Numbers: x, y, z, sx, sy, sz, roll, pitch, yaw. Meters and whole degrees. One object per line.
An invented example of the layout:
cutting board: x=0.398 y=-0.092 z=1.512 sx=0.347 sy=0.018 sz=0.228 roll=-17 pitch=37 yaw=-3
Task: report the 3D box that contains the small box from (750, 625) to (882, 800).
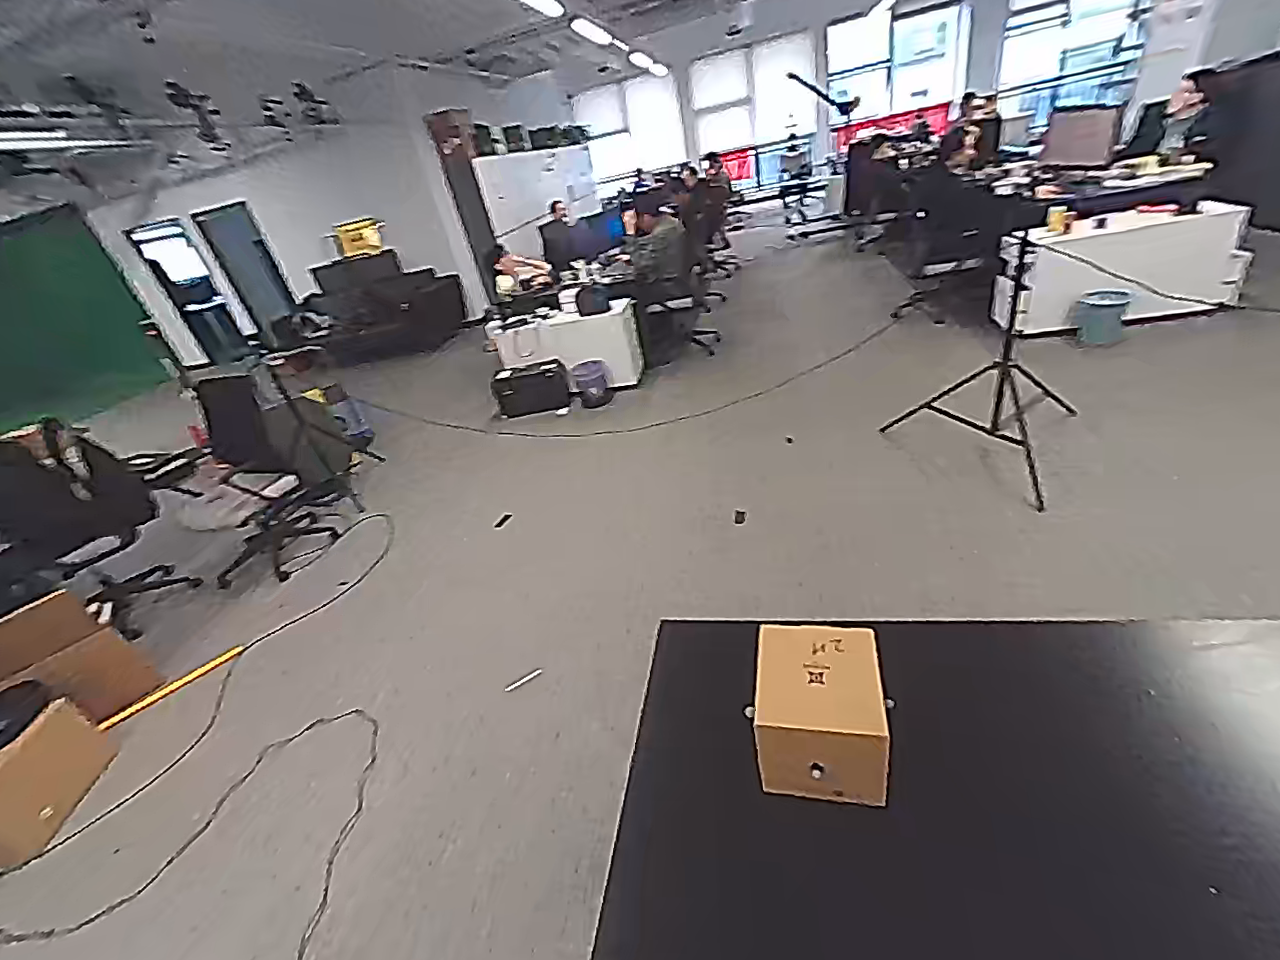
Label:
small box: x=0.260 y=0.339 z=0.798 sx=0.168 sy=0.176 sz=0.179 roll=-3 pitch=32 yaw=17
